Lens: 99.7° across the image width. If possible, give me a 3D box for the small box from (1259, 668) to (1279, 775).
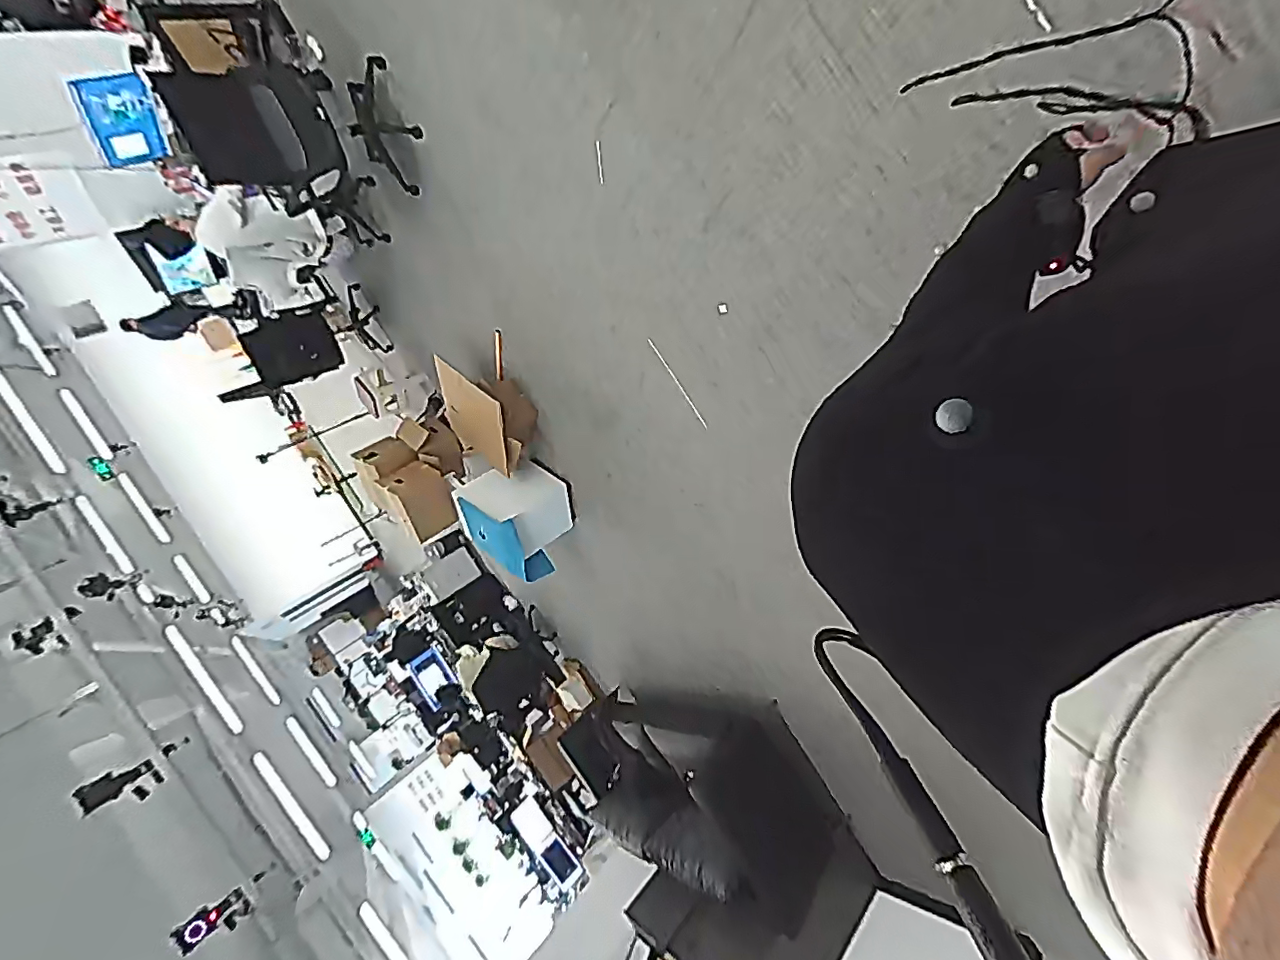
[{"bbox_3d":[1.183,0.440,0.891,0.168,0.176,0.179,-21,100,58],"label":"small box"}]
